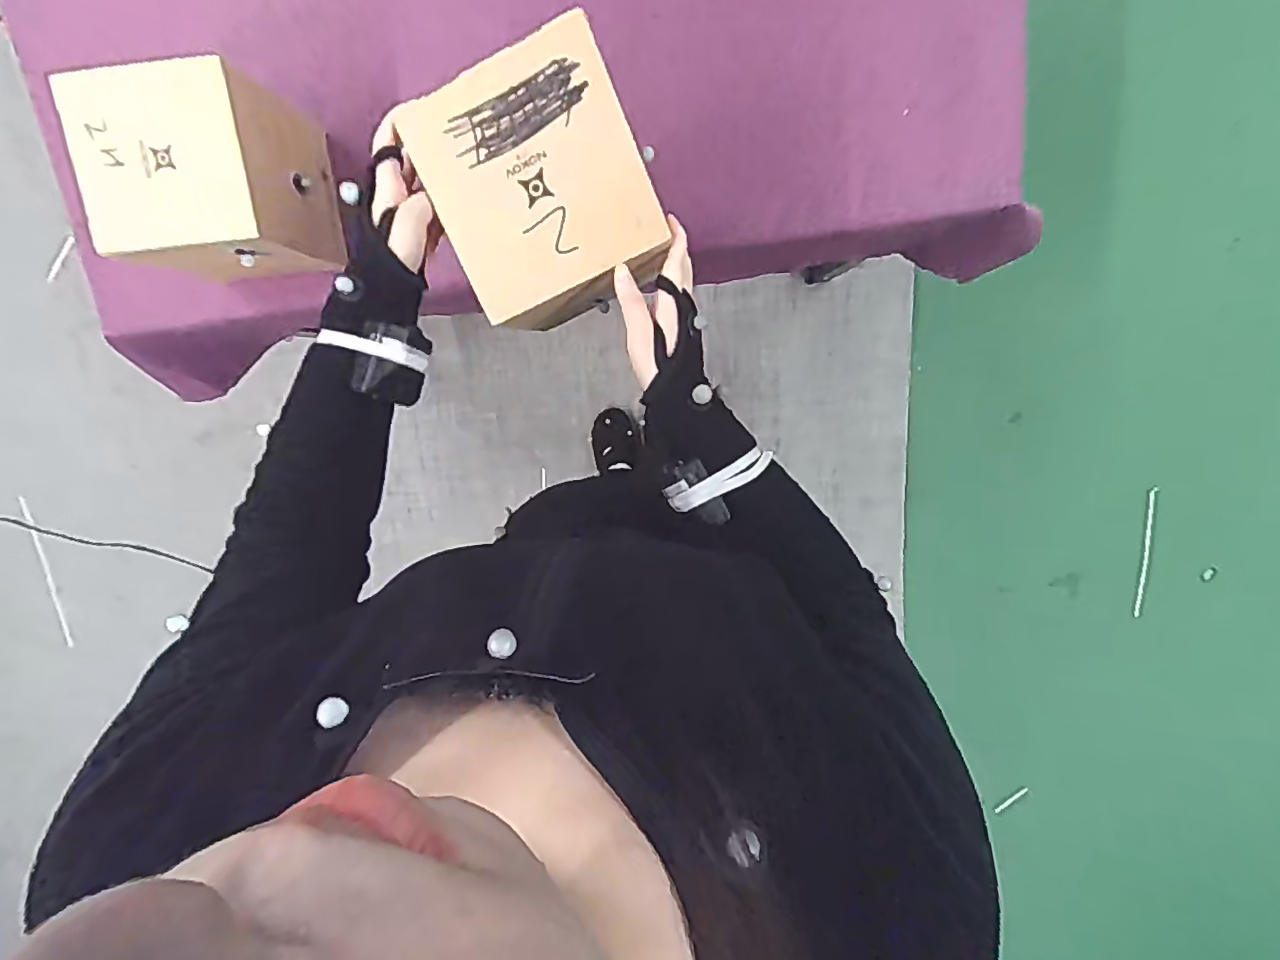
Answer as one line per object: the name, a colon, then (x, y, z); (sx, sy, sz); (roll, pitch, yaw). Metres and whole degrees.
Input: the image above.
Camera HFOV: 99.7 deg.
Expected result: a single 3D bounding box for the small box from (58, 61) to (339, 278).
small box: (-0.473, -0.335, 0.617); (0.179, 0.176, 0.168); (-4, 101, 3)
